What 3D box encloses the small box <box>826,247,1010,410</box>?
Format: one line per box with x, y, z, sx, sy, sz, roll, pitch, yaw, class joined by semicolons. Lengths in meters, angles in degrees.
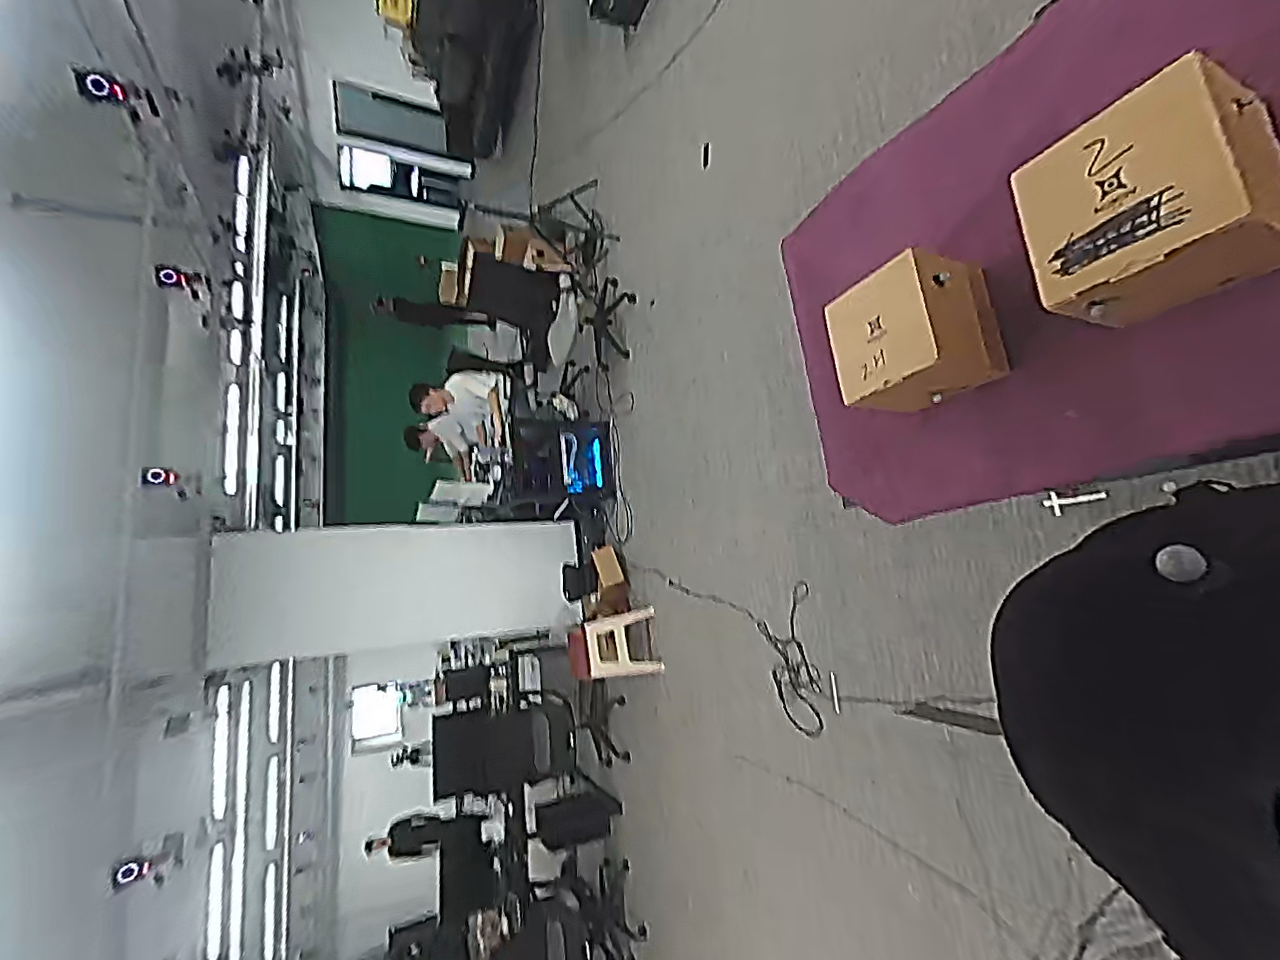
0.419;-0.217;0.825;0.168;0.176;0.179;-30;64;60;small box
